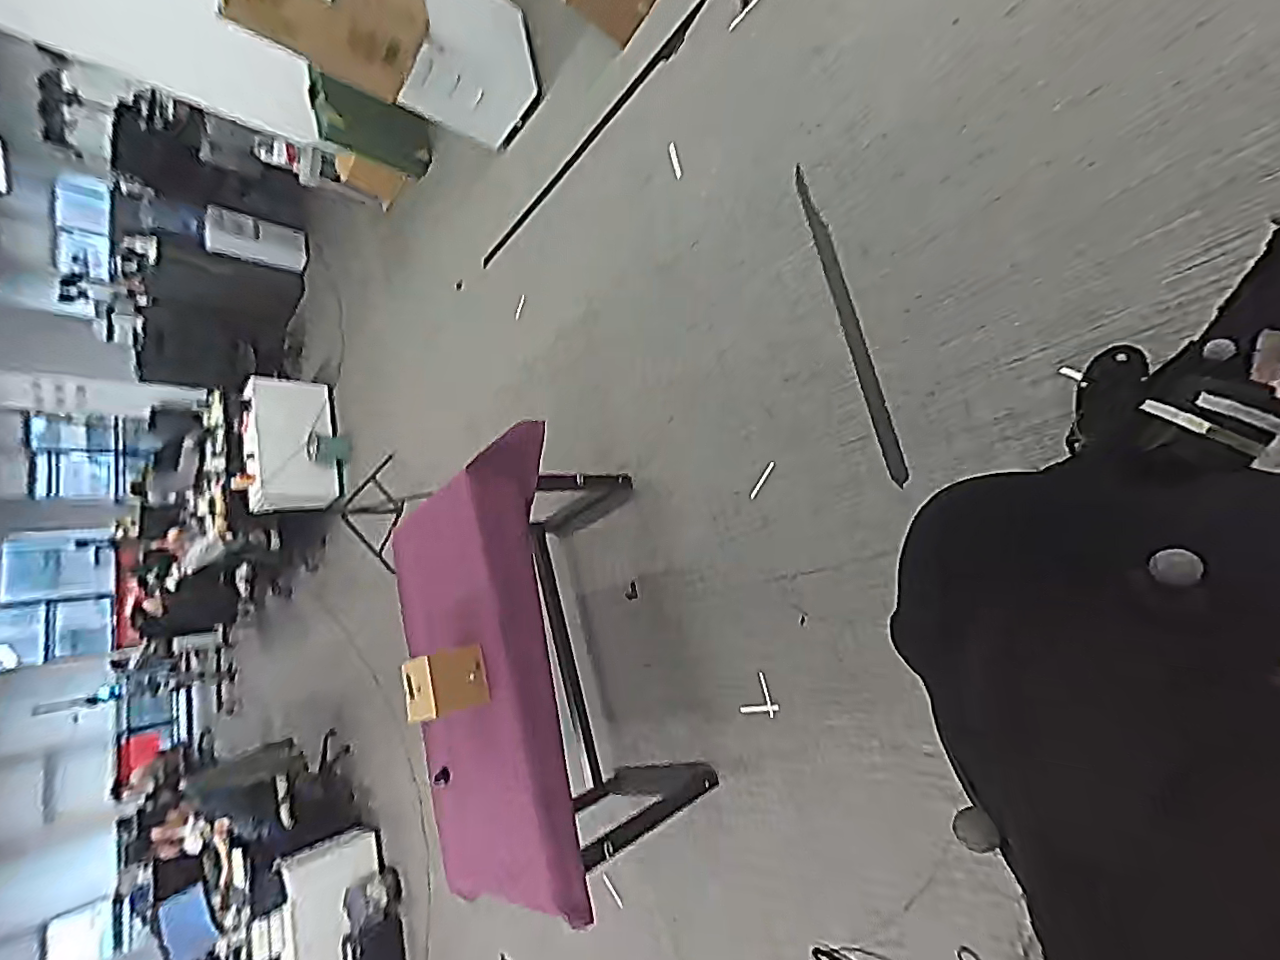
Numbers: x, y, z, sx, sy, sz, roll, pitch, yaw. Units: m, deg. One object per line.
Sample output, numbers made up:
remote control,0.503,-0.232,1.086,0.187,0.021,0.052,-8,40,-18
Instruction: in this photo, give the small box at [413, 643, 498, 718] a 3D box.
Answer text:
small box,-0.541,0.586,1.584,0.179,0.176,0.168,-28,70,41
